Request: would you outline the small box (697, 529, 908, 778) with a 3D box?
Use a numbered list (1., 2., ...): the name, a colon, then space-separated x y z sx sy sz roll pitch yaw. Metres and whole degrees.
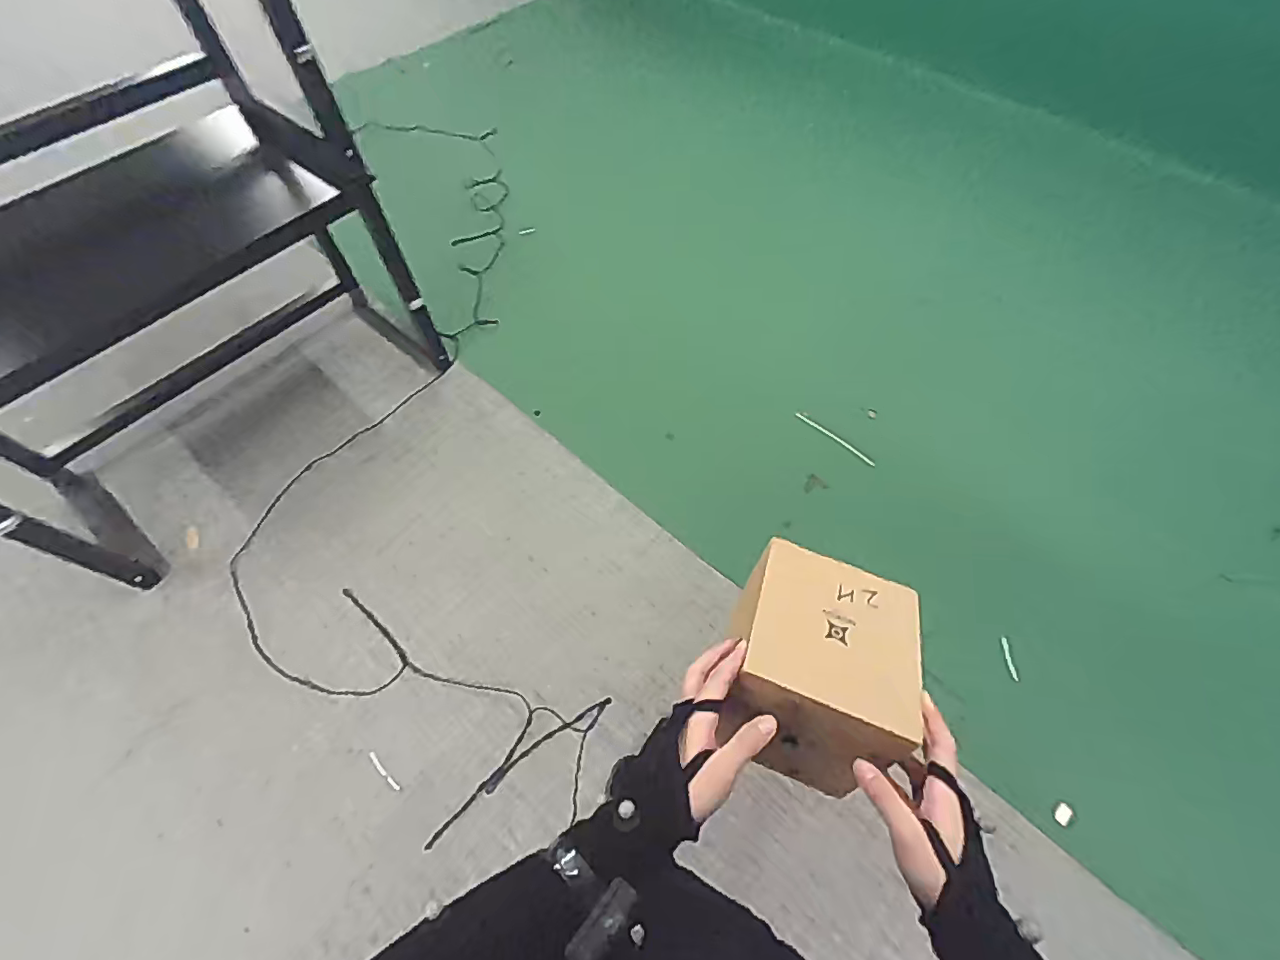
1. small box: 0.172 0.193 0.596 0.168 0.176 0.179 21 45 7
